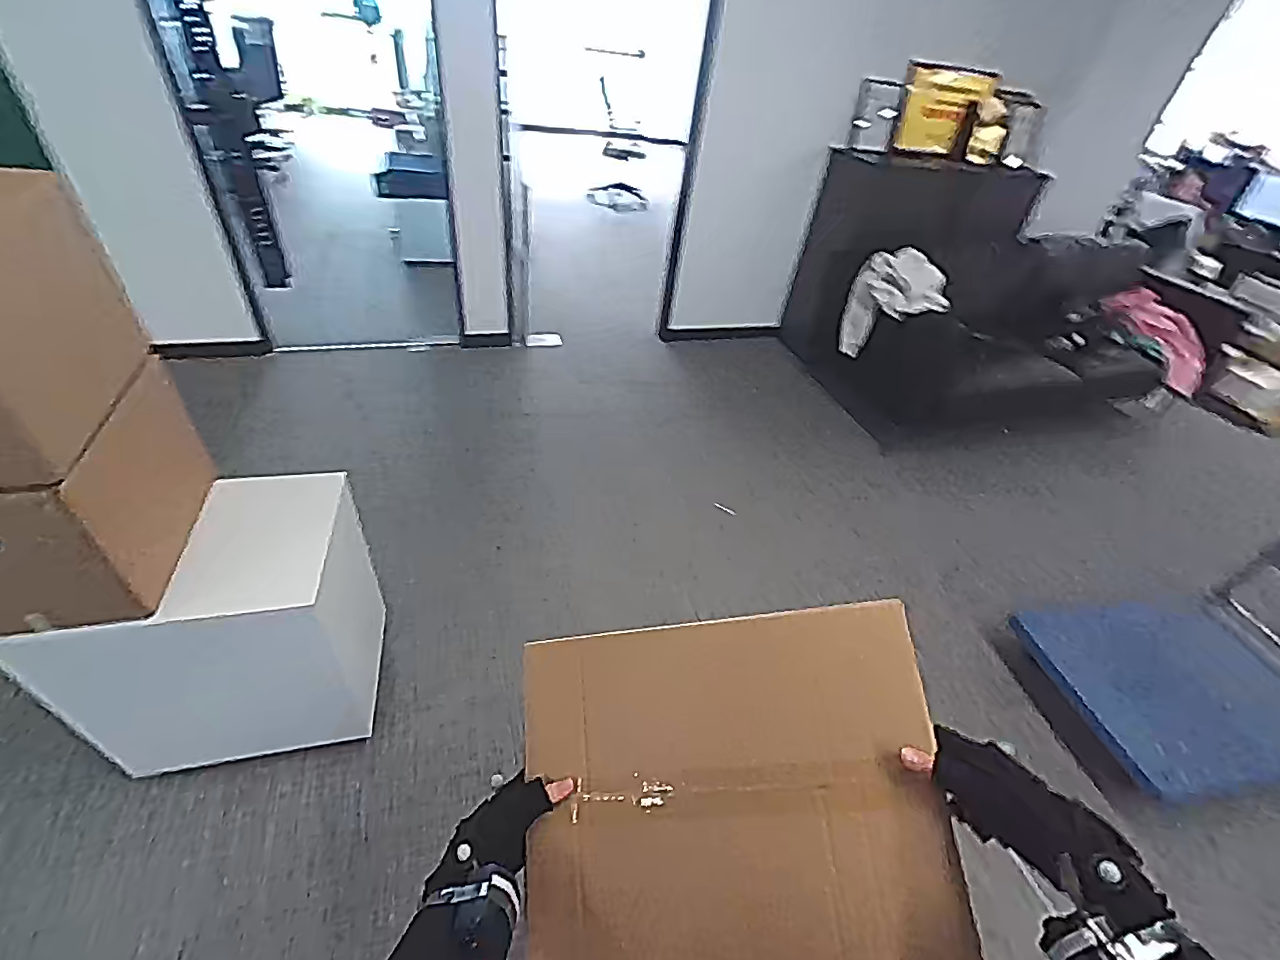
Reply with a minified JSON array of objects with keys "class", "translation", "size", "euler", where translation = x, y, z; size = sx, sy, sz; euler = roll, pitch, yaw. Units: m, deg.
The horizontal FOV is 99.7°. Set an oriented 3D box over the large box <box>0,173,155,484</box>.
[{"class":"large box","translation":[-1.001,-0.221,0.771],"size":[0.320,0.320,0.408],"euler":[-7,41,-18]}]
